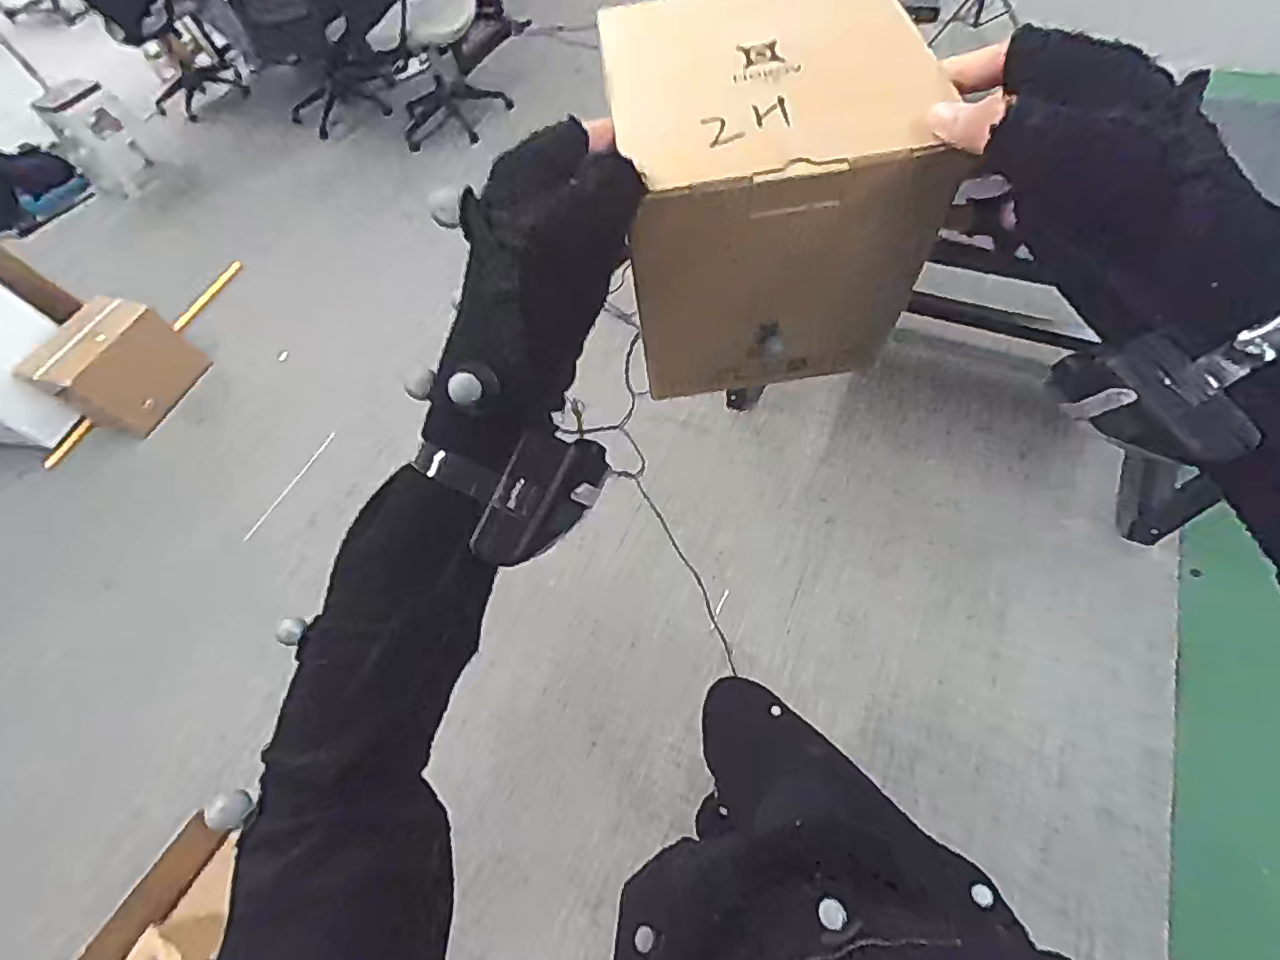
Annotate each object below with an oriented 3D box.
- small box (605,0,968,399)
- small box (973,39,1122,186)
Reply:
[{"bbox_3d":[0.073,-0.180,0.363,0.168,0.176,0.179,-8,63,4],"label":"small box"},{"bbox_3d":[0.769,-0.702,1.035,0.168,0.176,0.179,22,65,22],"label":"small box"}]
